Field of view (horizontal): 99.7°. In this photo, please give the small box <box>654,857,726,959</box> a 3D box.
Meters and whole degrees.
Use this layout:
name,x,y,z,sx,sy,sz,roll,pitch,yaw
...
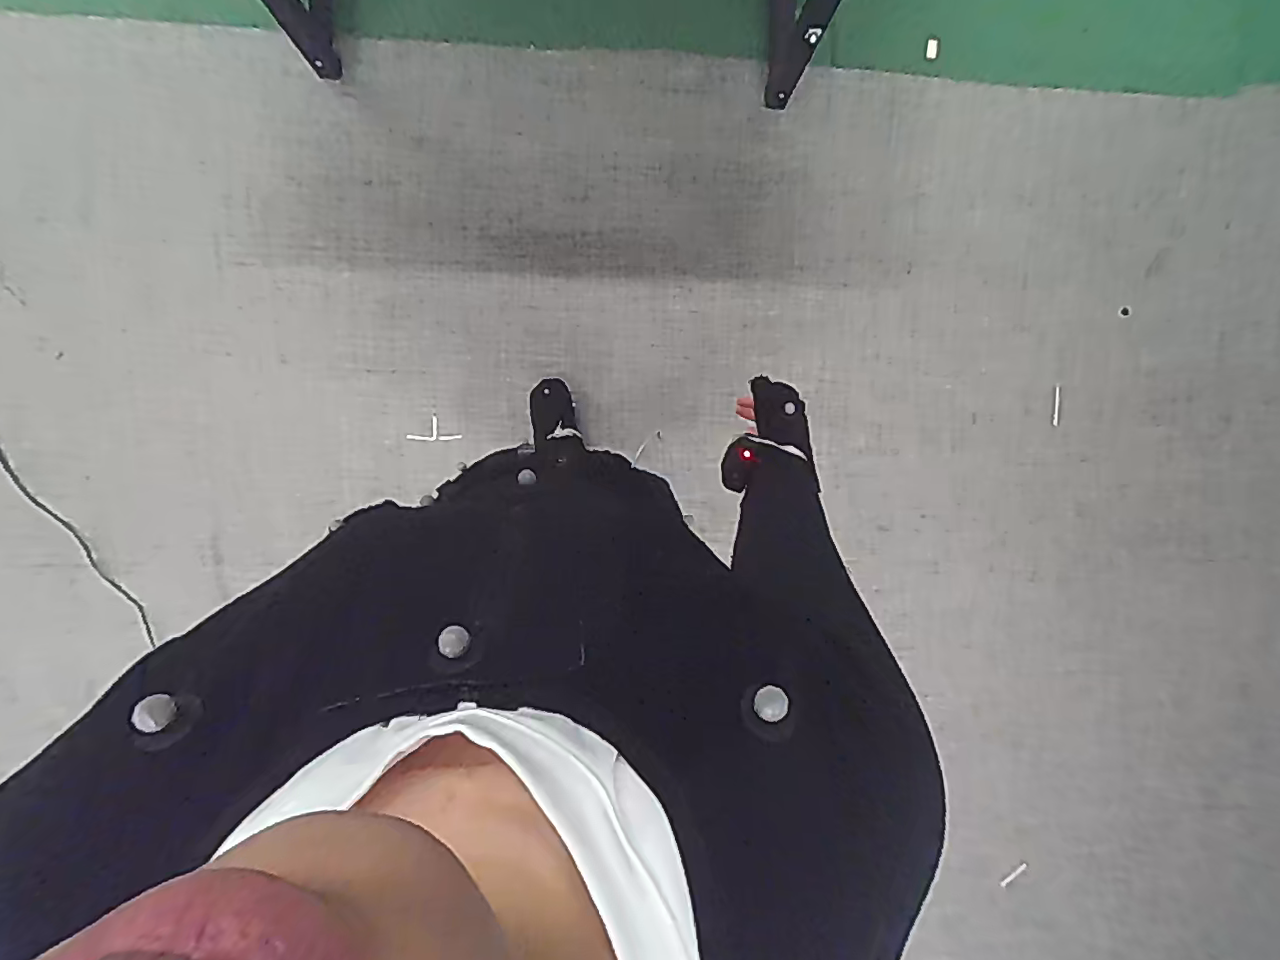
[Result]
name,x,y,z,sx,sy,sz,roll,pitch,yaw
small box,0.132,1.193,1.501,0.168,0.176,0.179,3,94,-6
